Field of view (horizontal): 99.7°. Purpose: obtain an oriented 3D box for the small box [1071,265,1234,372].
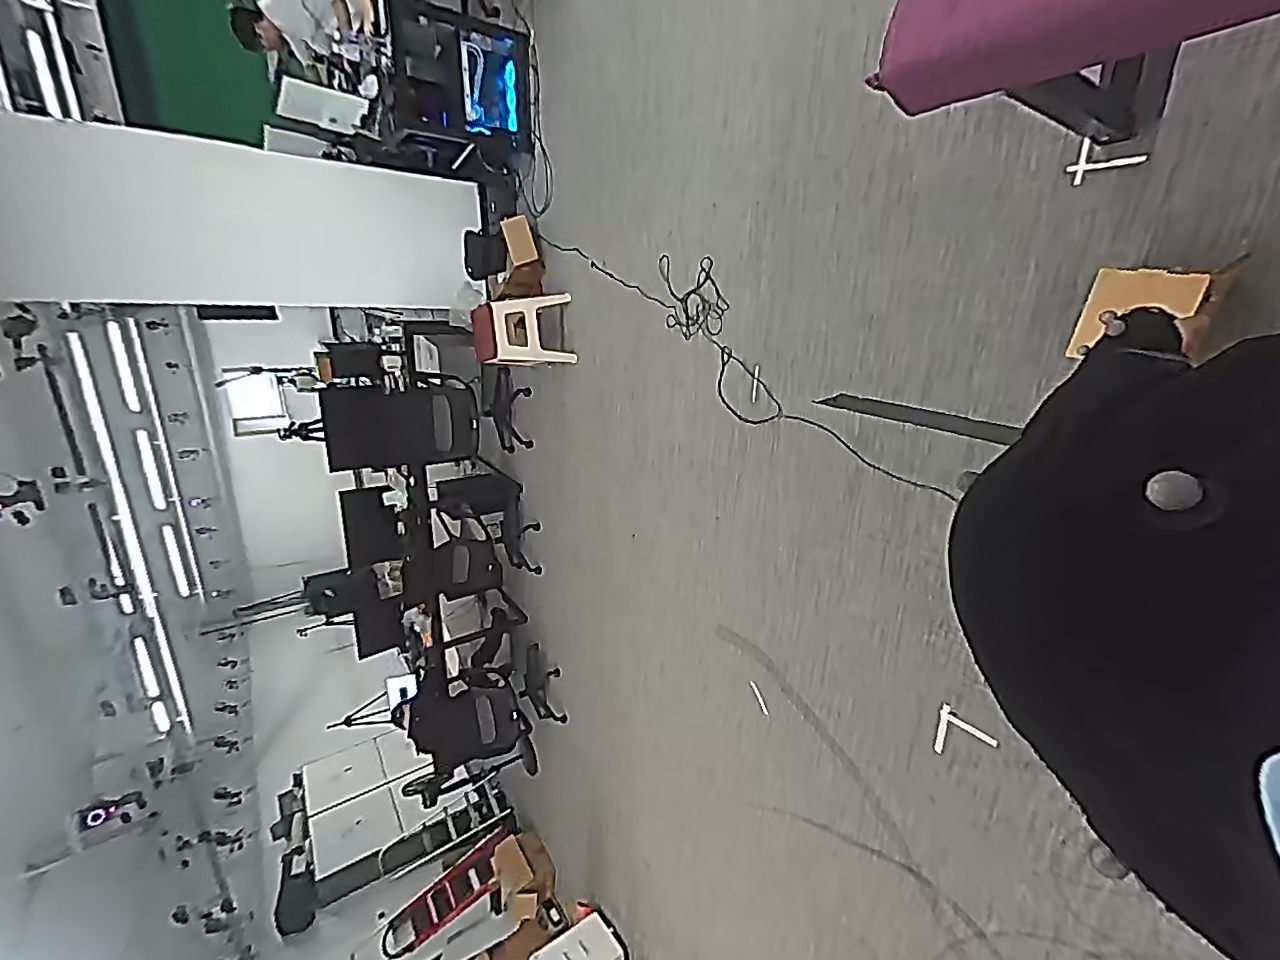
[{"bbox_3d":[1.001,-0.319,1.057,0.168,0.176,0.179,33,126,47],"label":"small box"}]
